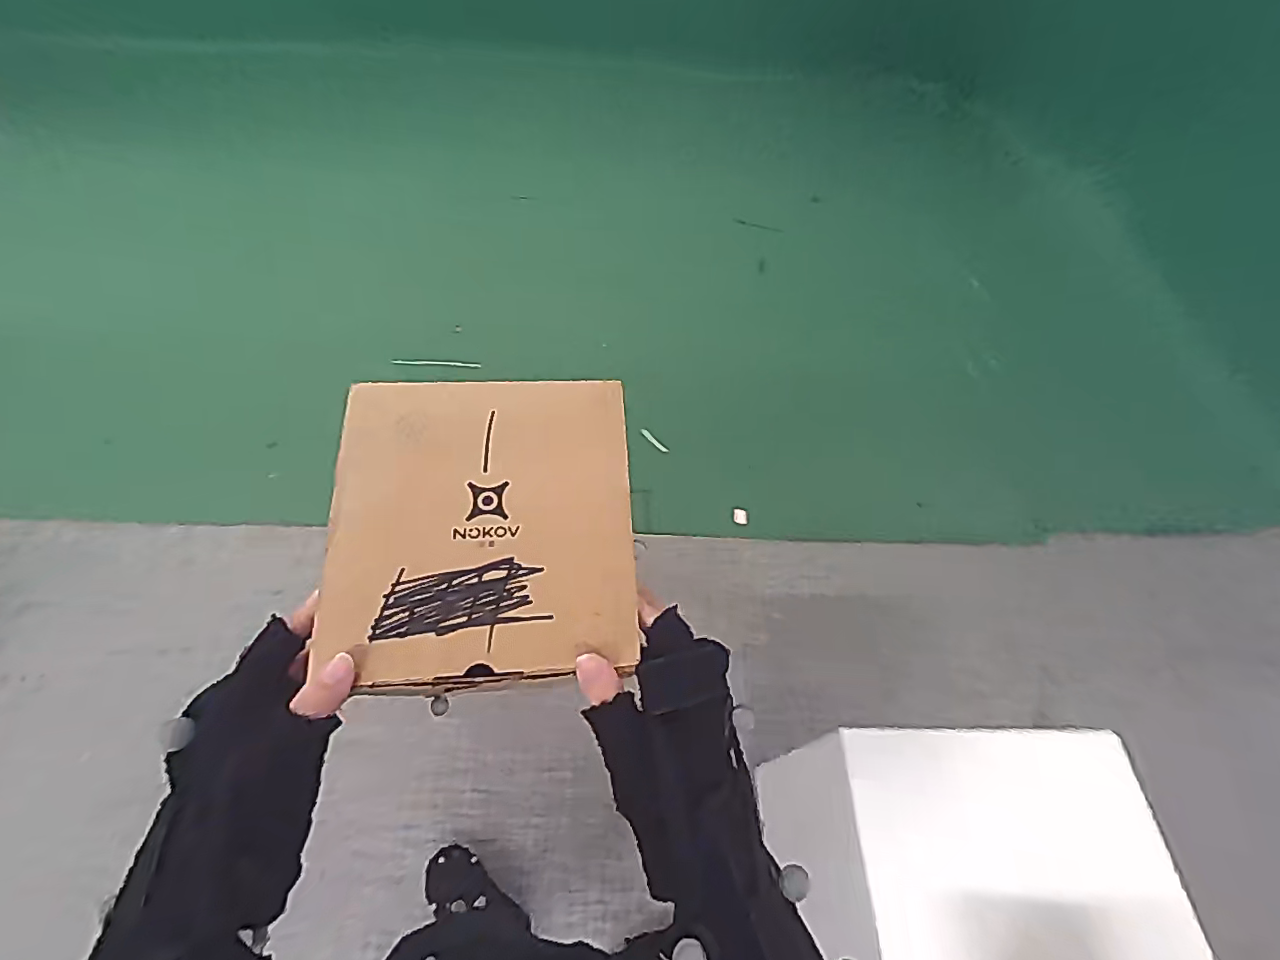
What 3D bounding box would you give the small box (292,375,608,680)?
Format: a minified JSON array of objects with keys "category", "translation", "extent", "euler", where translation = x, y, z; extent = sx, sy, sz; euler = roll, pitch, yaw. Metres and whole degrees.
[{"category":"small box","translation":[-0.108,0.045,0.386],"extent":[0.168,0.176,0.179],"euler":[-2,66,-7]}]
